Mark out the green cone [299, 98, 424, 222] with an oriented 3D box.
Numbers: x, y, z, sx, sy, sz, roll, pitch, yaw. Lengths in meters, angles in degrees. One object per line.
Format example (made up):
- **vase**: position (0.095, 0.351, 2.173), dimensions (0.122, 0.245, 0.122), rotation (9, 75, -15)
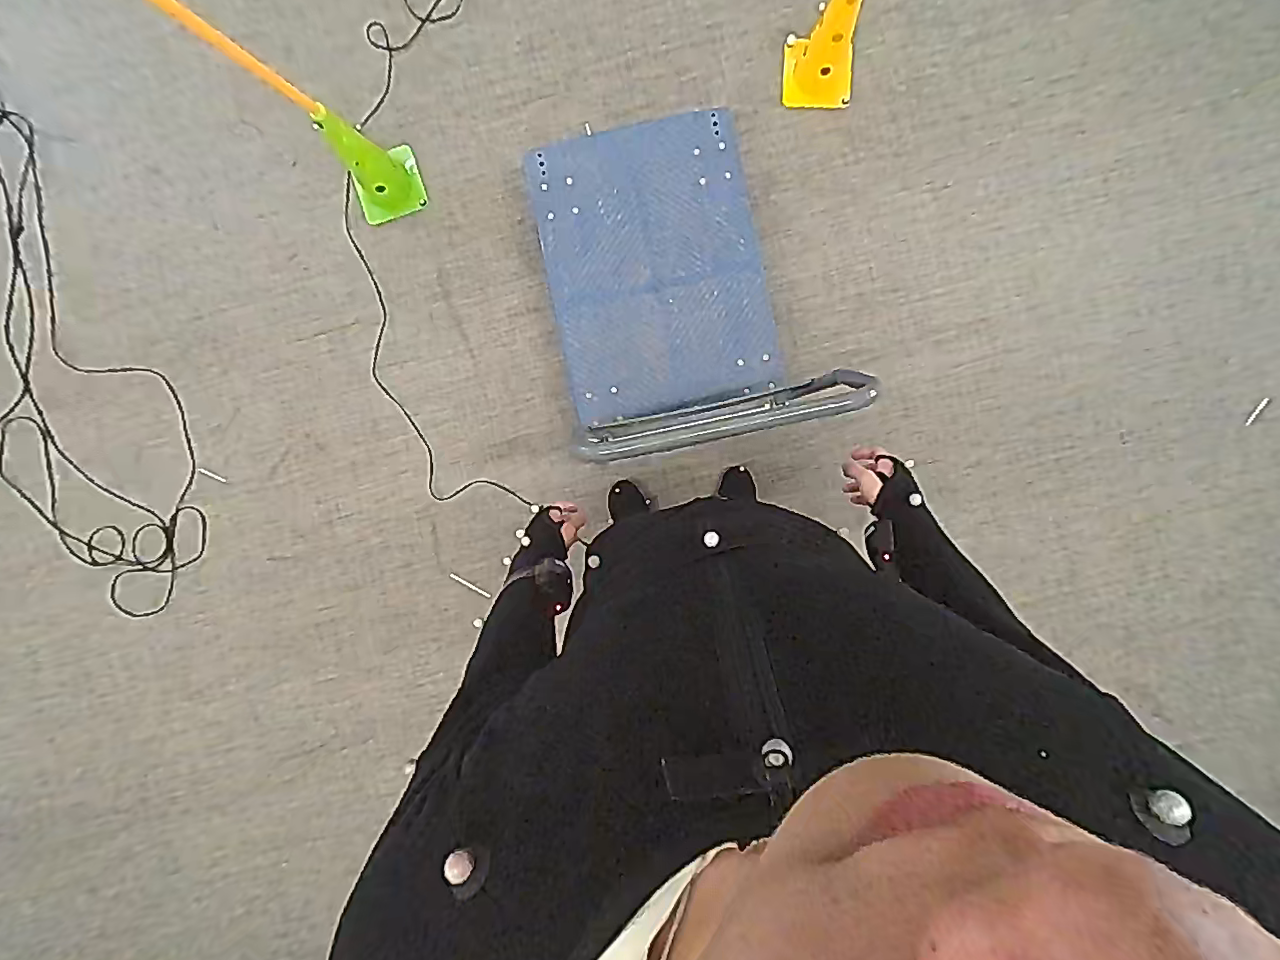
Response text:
- **green cone**: position (-0.778, -0.899, 1.461), dimensions (0.202, 0.368, 0.200), rotation (-19, 90, 4)
